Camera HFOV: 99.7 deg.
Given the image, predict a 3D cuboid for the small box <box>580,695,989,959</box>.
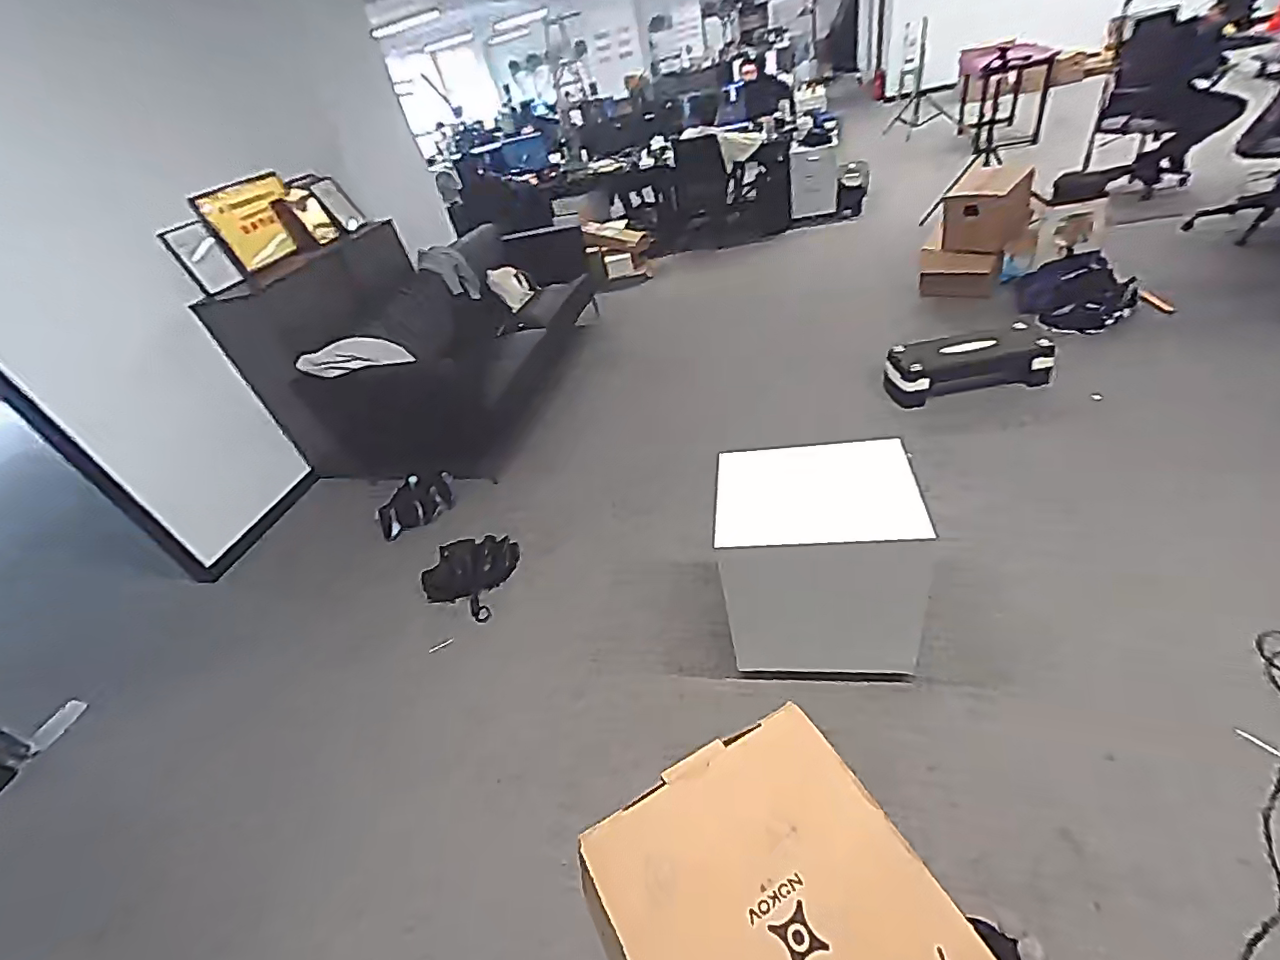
[{"bbox_3d":[0.069,0.282,0.347,0.168,0.176,0.179,-19,50,-22],"label":"small box"}]
